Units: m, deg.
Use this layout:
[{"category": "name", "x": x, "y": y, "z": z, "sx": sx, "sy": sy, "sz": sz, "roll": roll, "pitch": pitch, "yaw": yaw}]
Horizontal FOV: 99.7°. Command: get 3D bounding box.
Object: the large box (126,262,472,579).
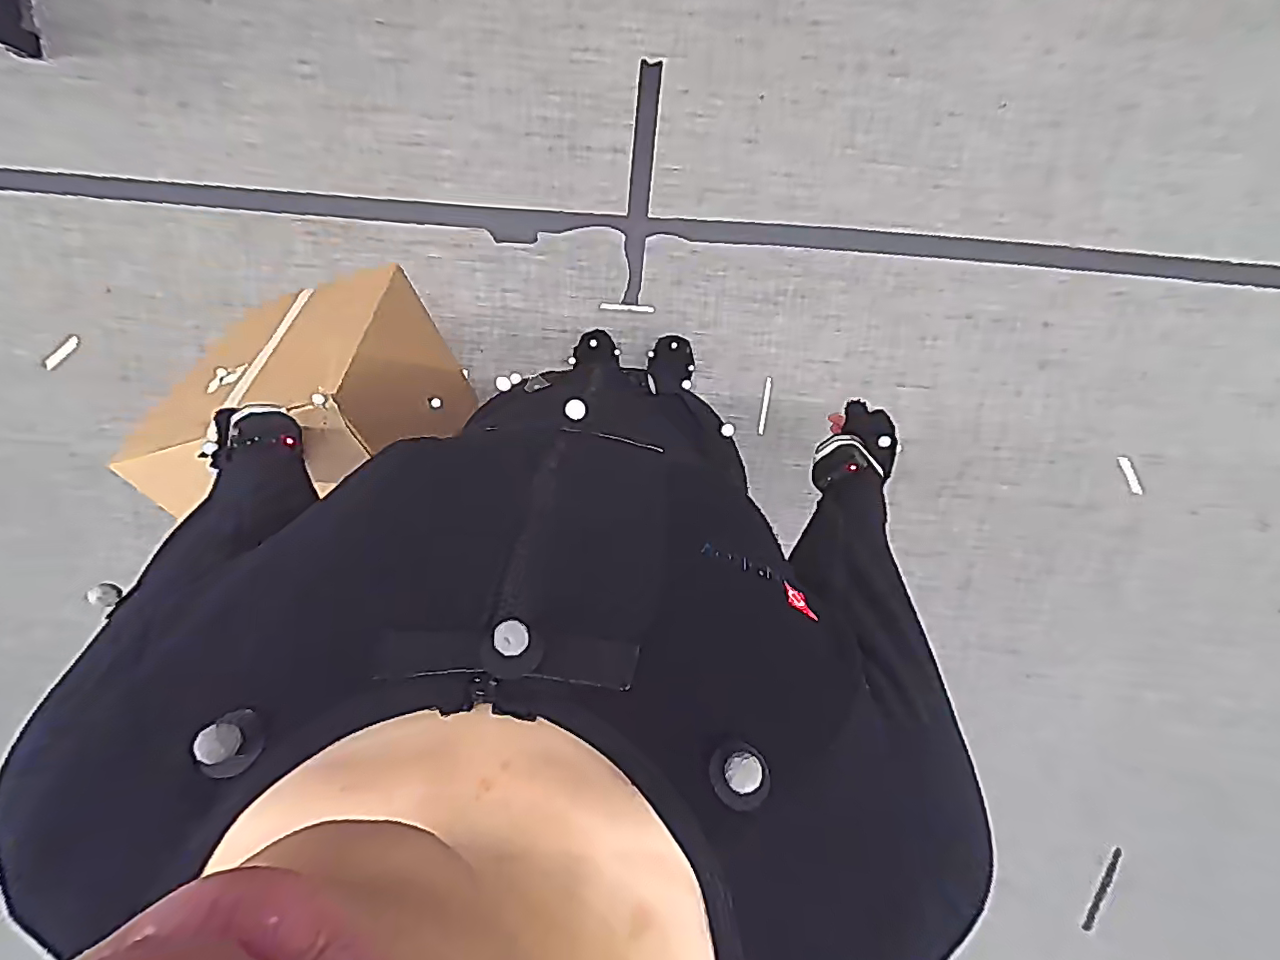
[{"category": "large box", "x": -0.509, "y": -0.106, "z": 0.924, "sx": 0.320, "sy": 0.408, "sz": 0.320, "roll": -15, "pitch": 136, "yaw": 6}]
